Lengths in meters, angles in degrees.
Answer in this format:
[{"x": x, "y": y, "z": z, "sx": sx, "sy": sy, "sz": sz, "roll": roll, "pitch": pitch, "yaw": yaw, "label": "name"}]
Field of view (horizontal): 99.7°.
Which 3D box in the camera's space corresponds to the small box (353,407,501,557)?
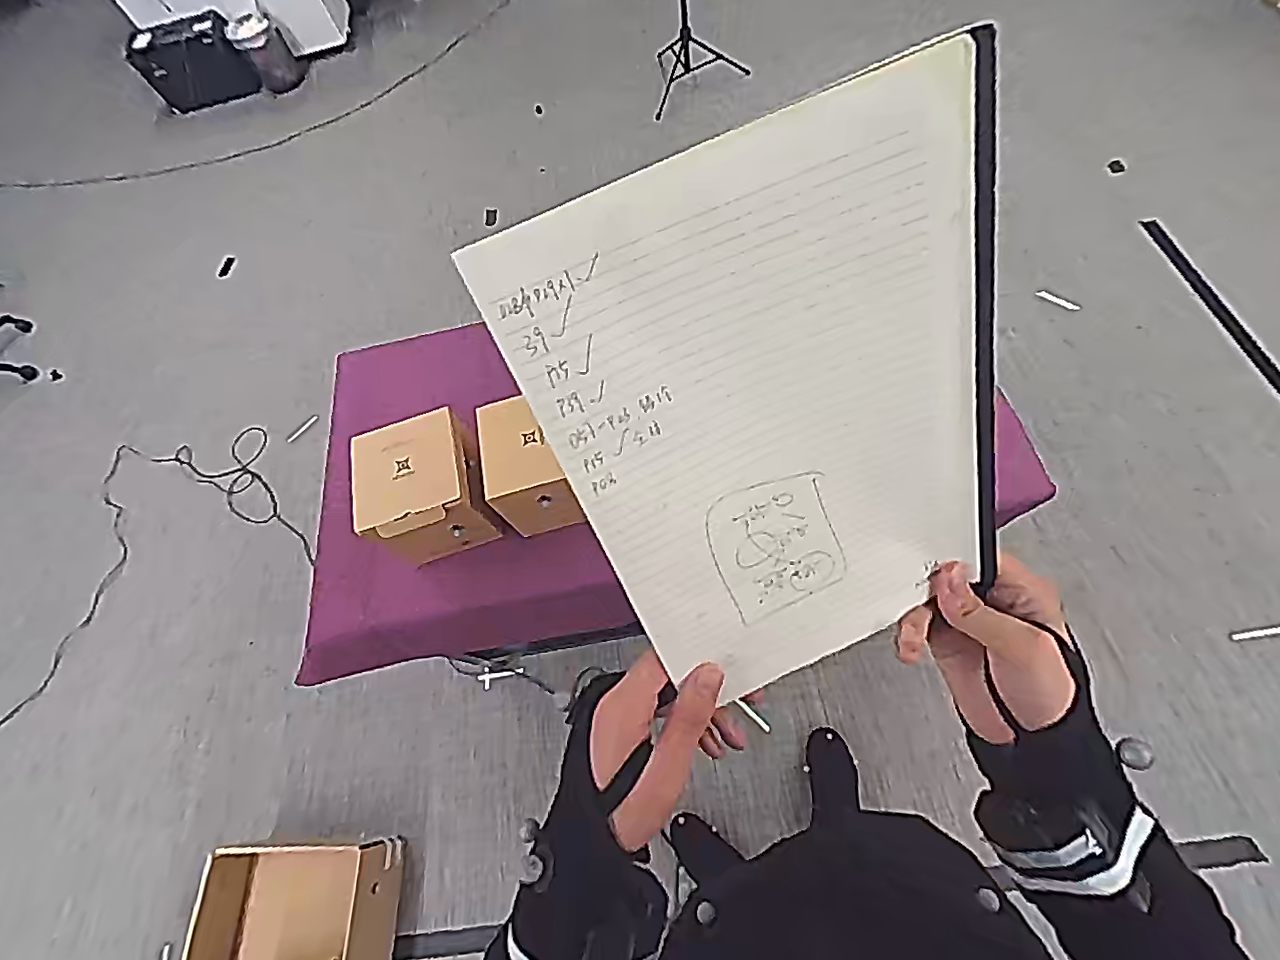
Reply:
[{"x": -0.345, "y": 0.014, "z": 0.896, "sx": 0.168, "sy": 0.176, "sz": 0.179, "roll": -18, "pitch": 63, "yaw": 0, "label": "small box"}]
